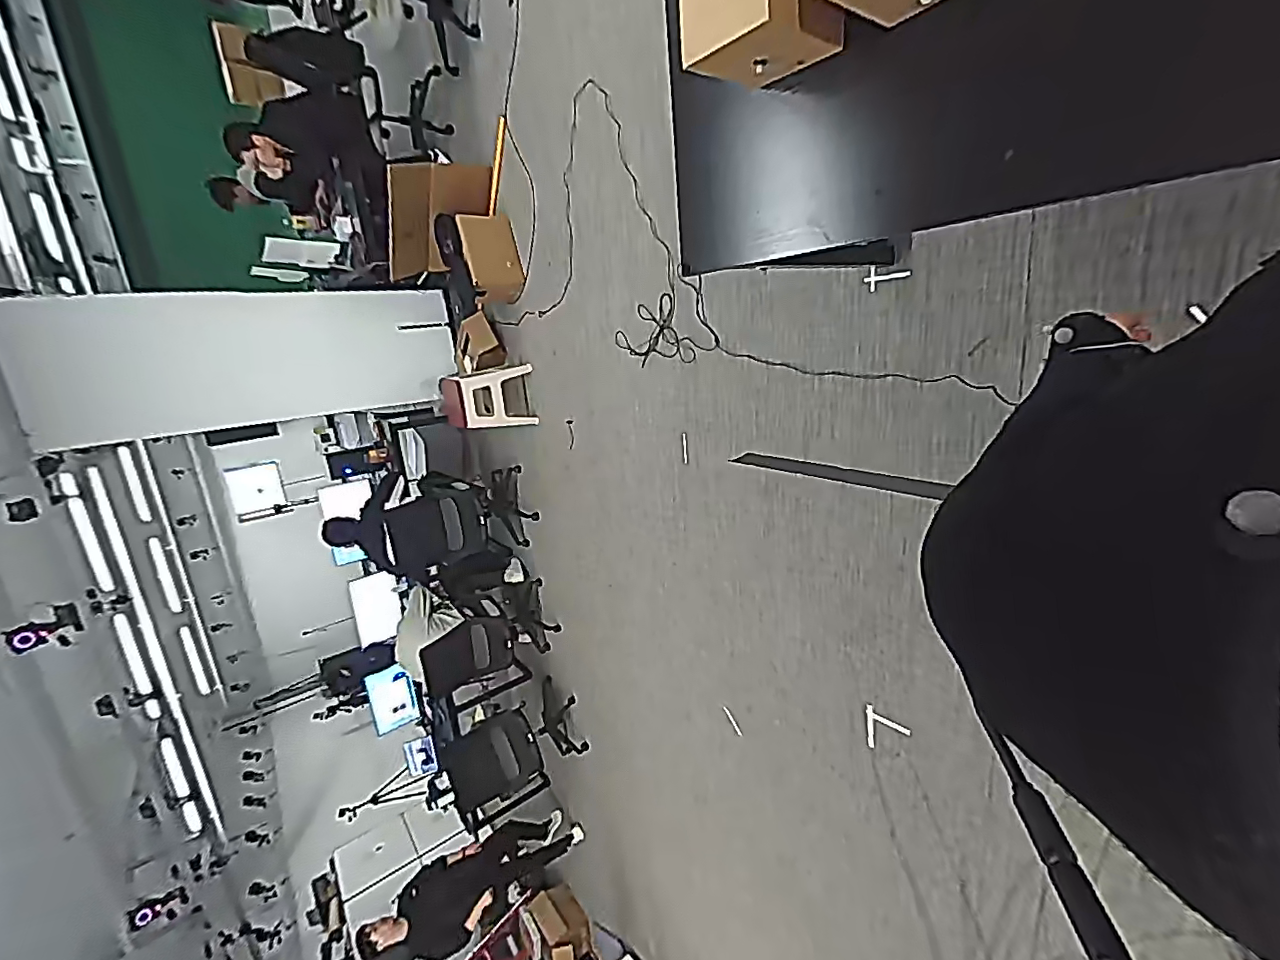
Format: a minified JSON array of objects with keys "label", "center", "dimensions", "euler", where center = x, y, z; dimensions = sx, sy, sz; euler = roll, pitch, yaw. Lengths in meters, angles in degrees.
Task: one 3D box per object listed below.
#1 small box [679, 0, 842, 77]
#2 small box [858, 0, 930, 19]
[{"label":"small box","center":[0.172,-0.704,0.766],"dimensions":[0.168,0.176,0.179],"euler":[18,117,50]},{"label":"small box","center":[0.306,-0.661,0.591],"dimensions":[0.168,0.176,0.179],"euler":[13,115,51]}]
